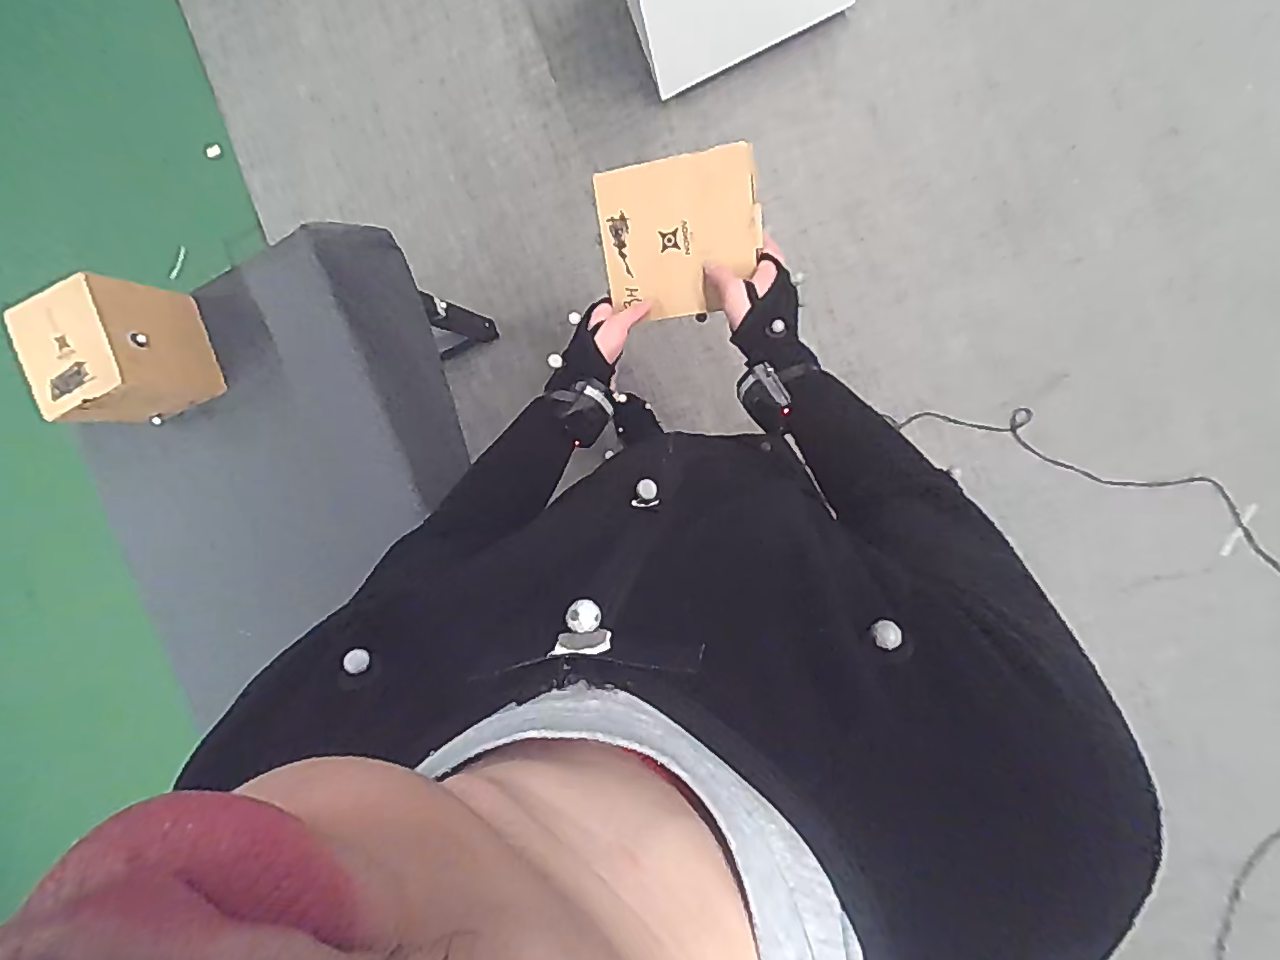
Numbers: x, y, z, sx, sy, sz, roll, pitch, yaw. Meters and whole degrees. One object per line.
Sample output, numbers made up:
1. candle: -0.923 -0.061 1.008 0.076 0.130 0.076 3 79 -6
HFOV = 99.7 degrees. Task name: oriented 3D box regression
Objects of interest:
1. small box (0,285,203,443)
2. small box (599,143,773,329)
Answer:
1. small box: -0.829 -0.167 0.827 0.168 0.176 0.179 -20 92 9
2. small box: 0.063 -0.286 0.660 0.179 0.176 0.168 -5 108 13
